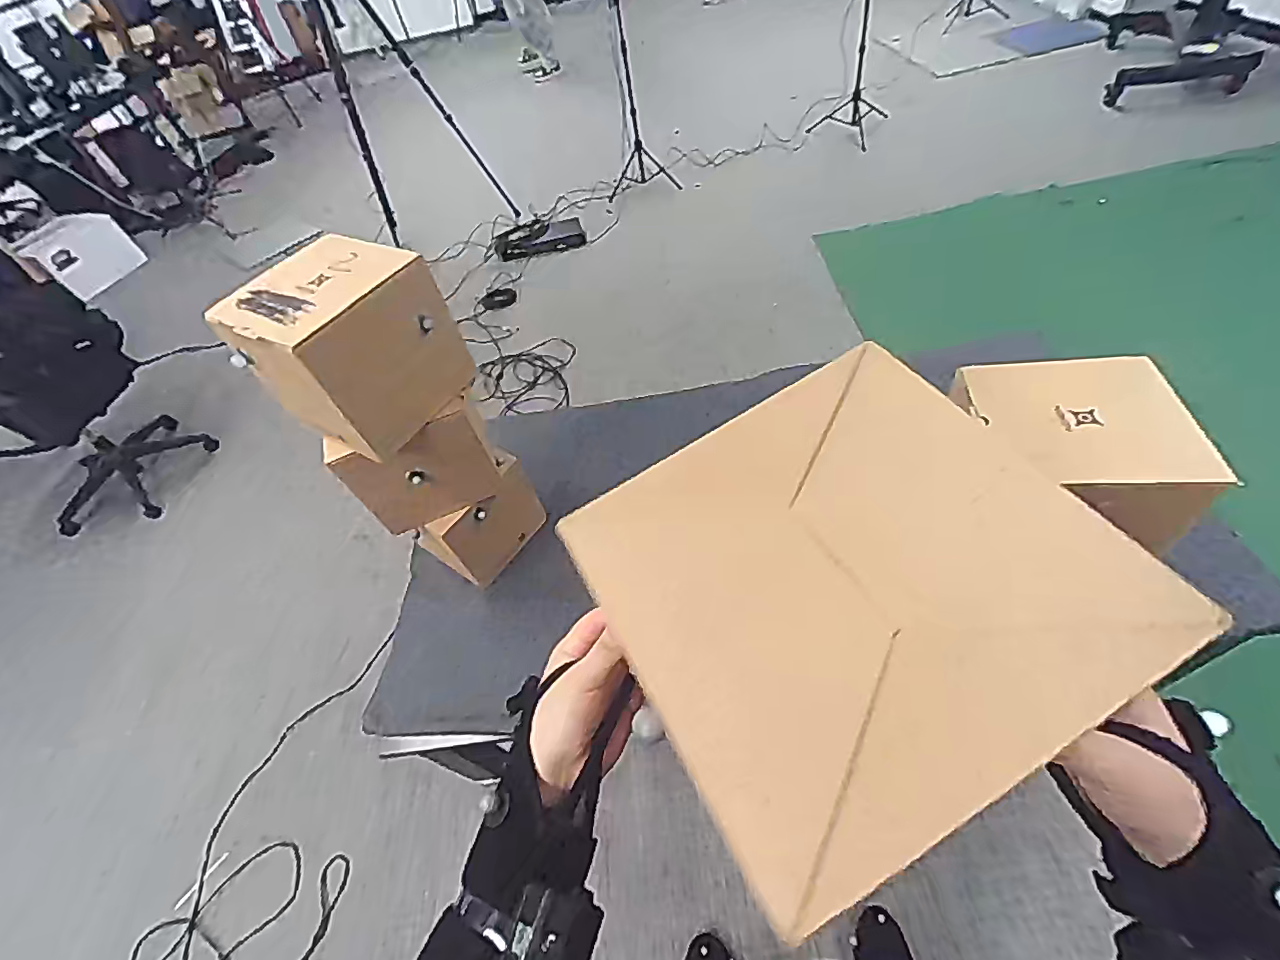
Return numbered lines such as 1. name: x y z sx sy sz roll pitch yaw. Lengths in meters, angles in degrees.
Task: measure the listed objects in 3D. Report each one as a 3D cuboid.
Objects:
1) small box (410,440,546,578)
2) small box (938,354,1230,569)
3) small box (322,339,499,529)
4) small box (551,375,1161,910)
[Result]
1. small box: -0.288 0.035 0.899 0.179 0.176 0.168 25 61 28
2. small box: 0.424 -0.010 0.568 0.179 0.176 0.168 -1 51 13
3. small box: -0.315 -0.062 0.769 0.179 0.176 0.168 -24 52 -7
4. small box: 0.085 0.074 0.274 0.179 0.176 0.168 -32 57 -4
